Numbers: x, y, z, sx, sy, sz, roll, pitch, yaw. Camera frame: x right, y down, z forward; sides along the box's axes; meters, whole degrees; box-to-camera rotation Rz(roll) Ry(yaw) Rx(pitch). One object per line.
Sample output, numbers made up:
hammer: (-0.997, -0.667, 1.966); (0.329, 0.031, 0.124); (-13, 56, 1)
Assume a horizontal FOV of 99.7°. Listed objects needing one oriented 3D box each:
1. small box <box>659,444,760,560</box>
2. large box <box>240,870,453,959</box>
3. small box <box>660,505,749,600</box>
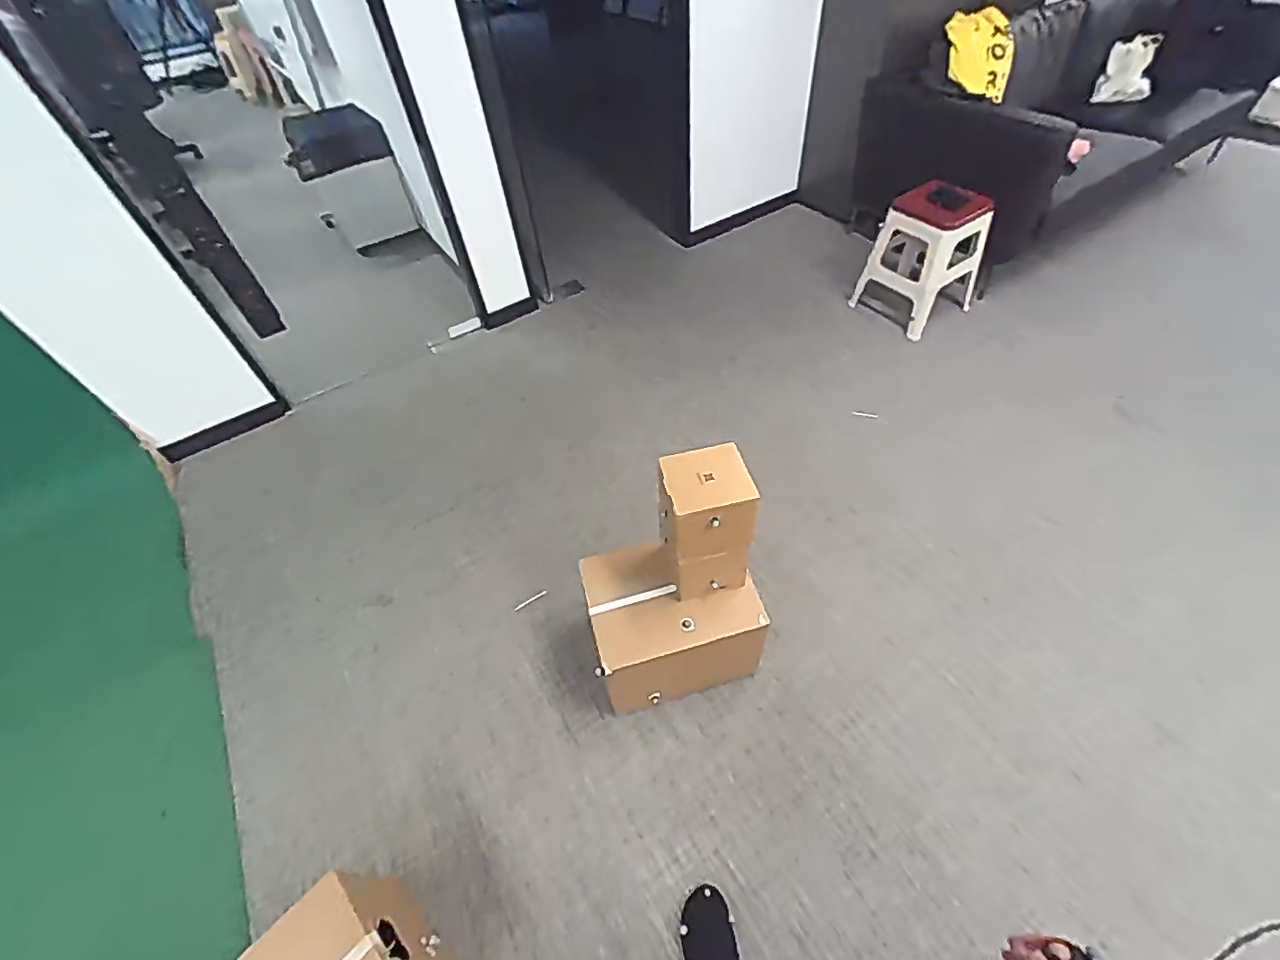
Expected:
small box: (0.144, 0.050, 1.172); (0.179, 0.176, 0.168); (-13, 49, -4)
large box: (-0.583, 1.010, 0.971); (0.320, 0.320, 0.408); (34, 62, 29)
small box: (0.149, 0.159, 1.294); (0.168, 0.176, 0.179); (-14, 49, -6)
